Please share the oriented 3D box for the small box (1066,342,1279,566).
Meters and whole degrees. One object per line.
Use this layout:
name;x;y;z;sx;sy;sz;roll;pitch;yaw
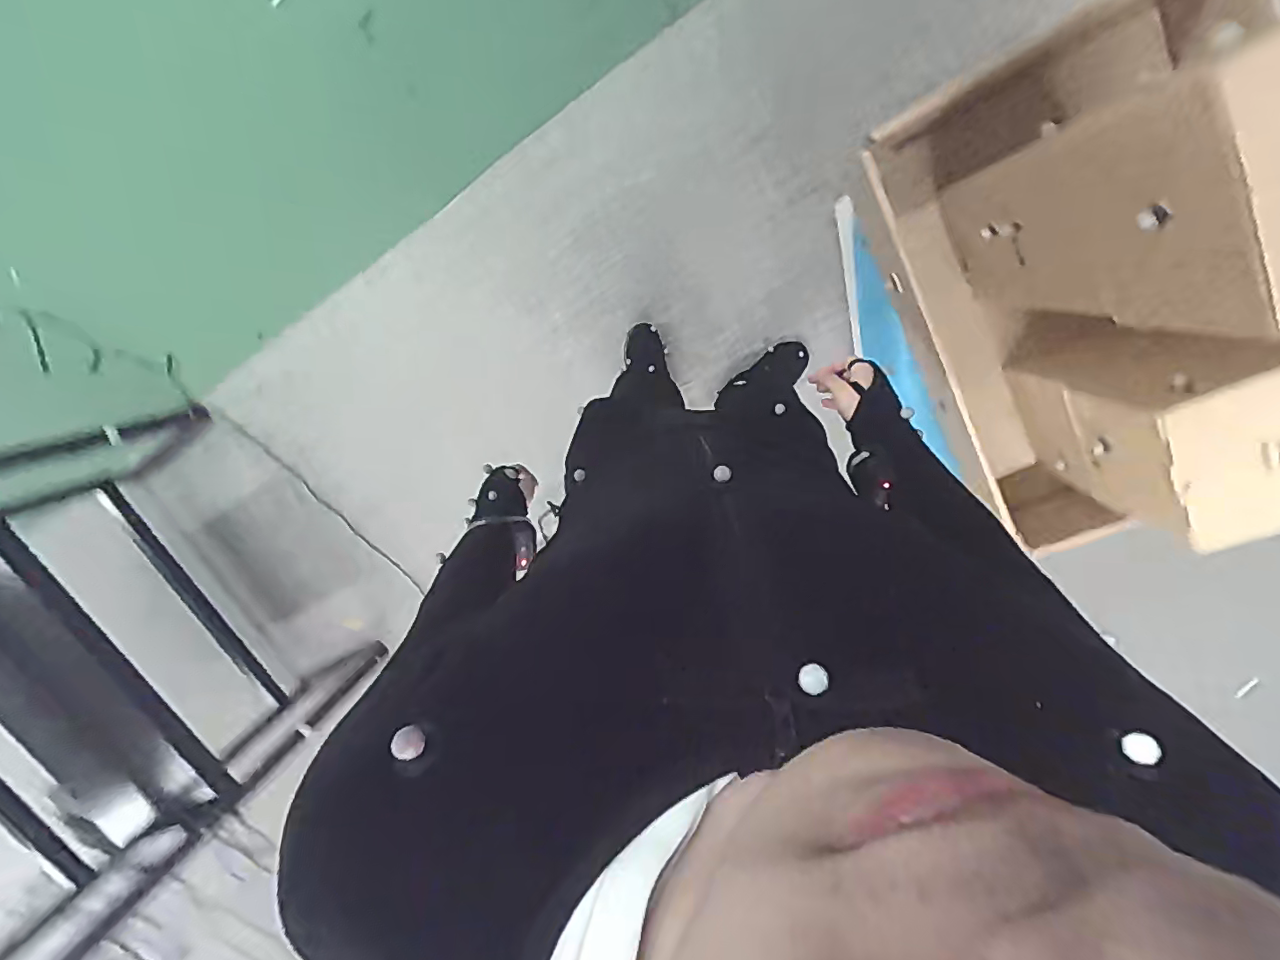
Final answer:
small box;0.620;-0.038;0.586;0.179;0.176;0.168;-23;103;18
